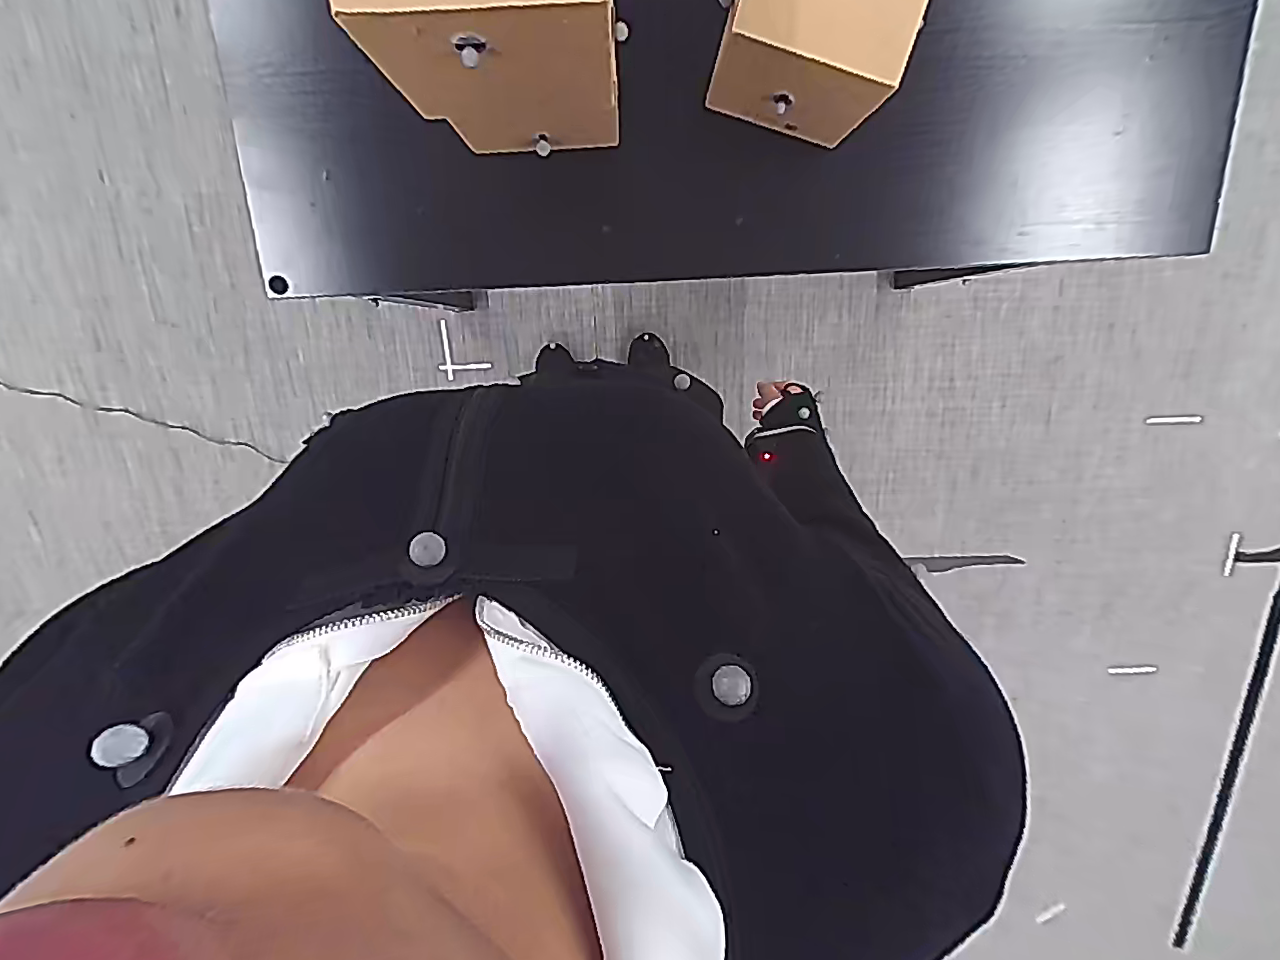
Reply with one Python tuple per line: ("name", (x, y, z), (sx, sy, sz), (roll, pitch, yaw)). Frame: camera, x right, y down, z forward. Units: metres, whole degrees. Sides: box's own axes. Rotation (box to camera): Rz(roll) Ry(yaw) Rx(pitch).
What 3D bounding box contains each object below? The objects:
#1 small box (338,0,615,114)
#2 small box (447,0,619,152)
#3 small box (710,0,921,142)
("small box", (-0.112, -0.399, 0.405), (0.179, 0.176, 0.168), (-4, 105, -1))
("small box", (-0.115, -0.460, 0.560), (0.179, 0.176, 0.168), (-4, 105, -1))
("small box", (0.179, -0.488, 0.561), (0.168, 0.176, 0.179), (15, 103, -6))
